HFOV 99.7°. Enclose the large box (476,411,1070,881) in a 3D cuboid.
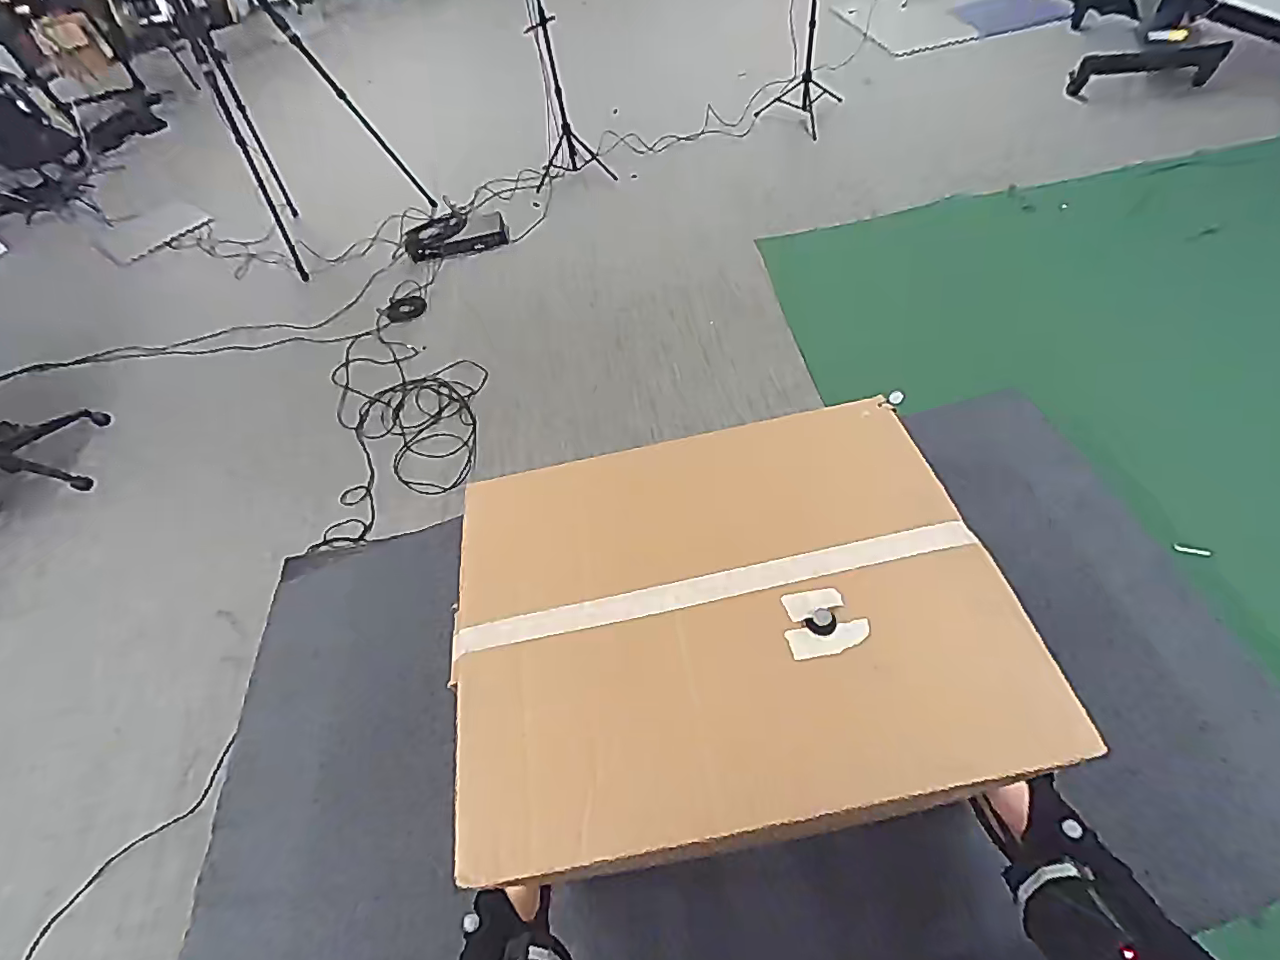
[{"bbox_3d":[0.079,0.181,0.554,0.408,0.320,0.320,-12,54,0],"label":"large box"}]
